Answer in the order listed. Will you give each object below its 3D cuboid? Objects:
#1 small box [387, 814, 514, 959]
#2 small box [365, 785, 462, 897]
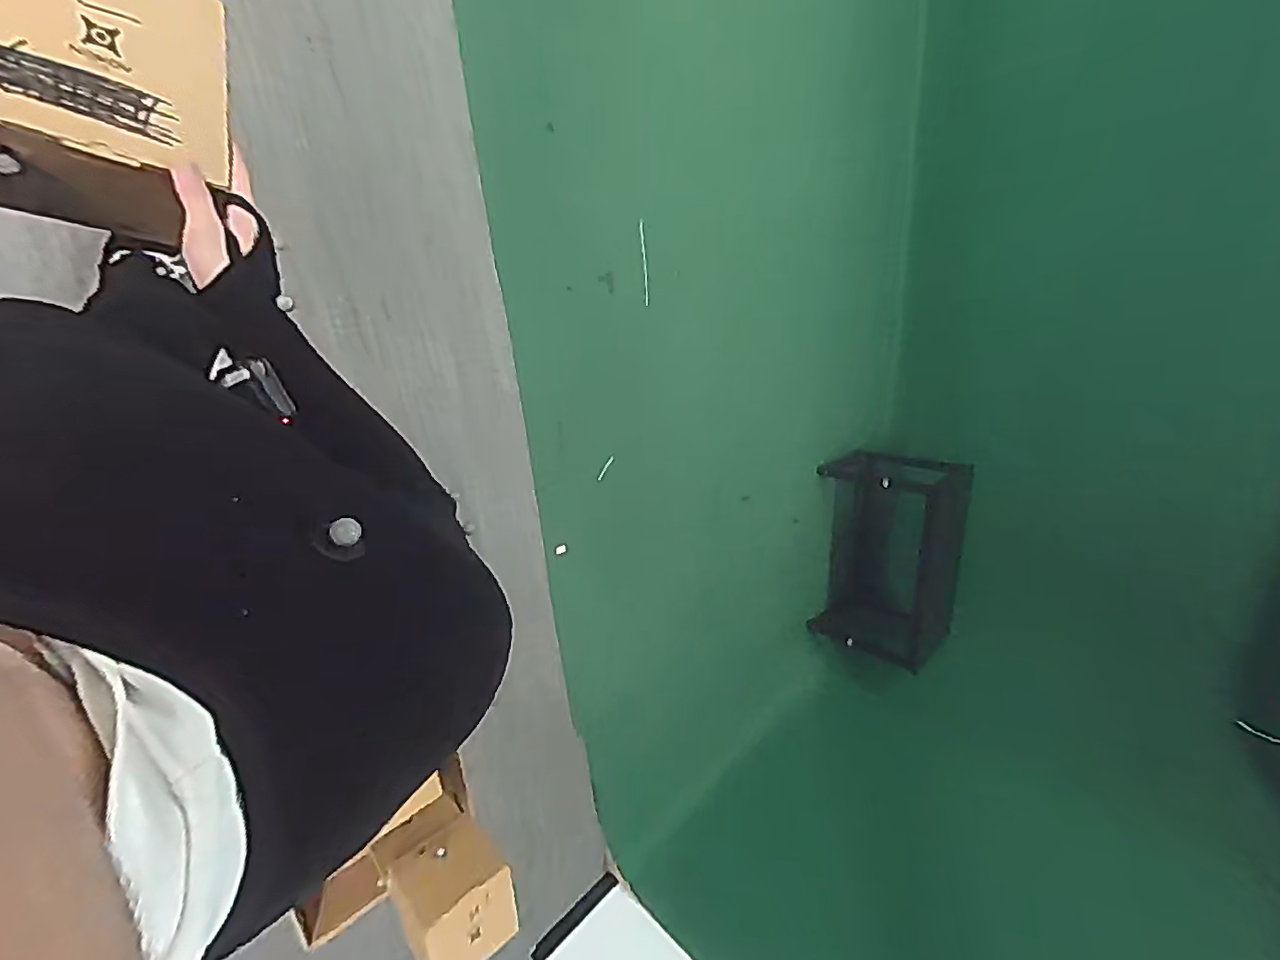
[{"bbox_3d":[-0.365,0.800,1.041,0.168,0.176,0.179,-18,112,-41],"label":"small box"},{"bbox_3d":[-0.475,0.783,1.164,0.168,0.176,0.179,-26,117,-37],"label":"small box"}]
